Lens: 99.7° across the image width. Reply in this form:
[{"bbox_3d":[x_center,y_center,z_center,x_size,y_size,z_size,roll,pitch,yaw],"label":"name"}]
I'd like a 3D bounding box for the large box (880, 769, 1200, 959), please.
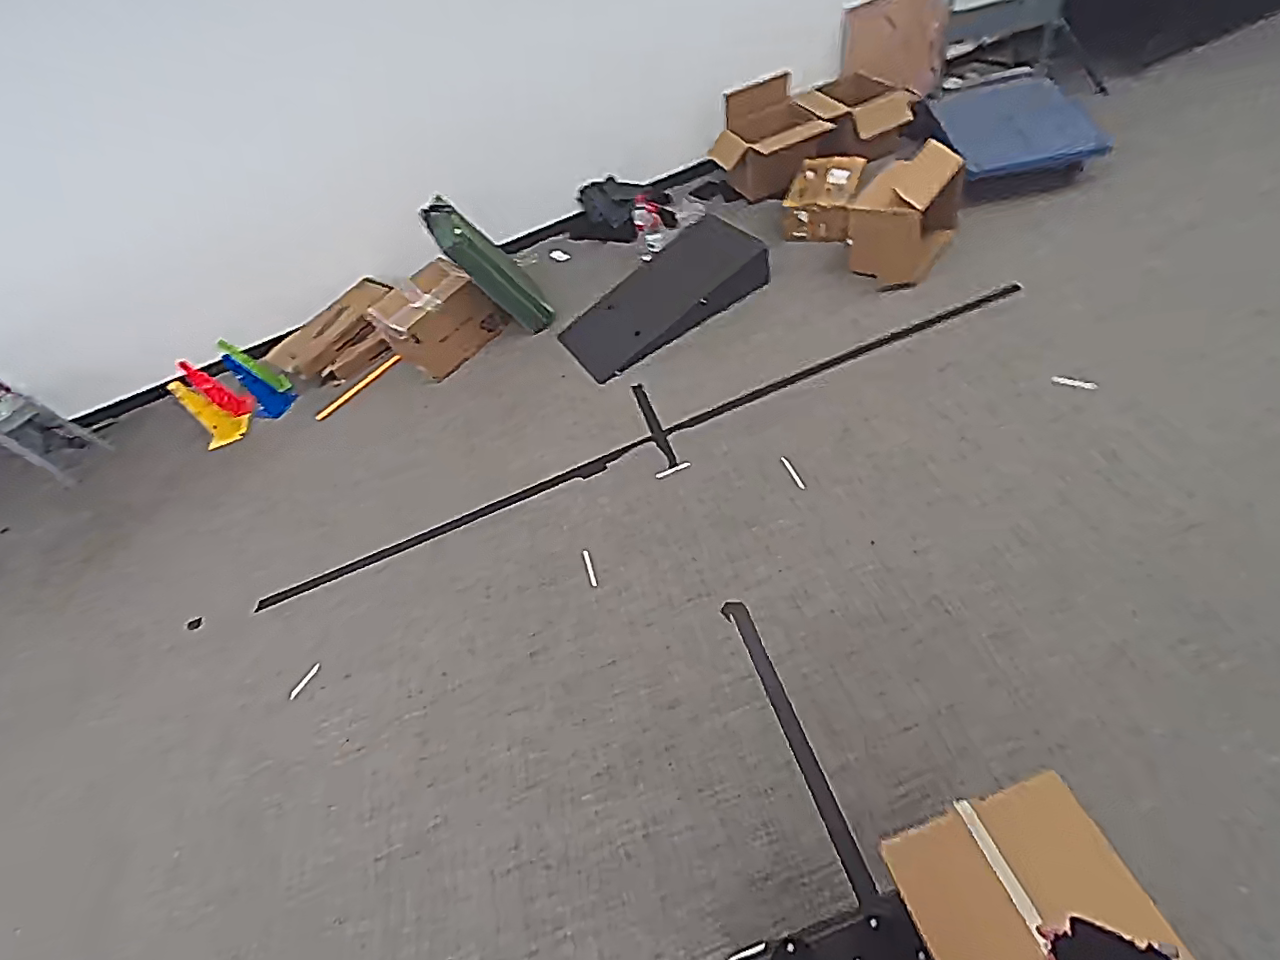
[{"bbox_3d":[0.650,0.756,0.888,0.320,0.320,0.408,-28,52,5],"label":"large box"}]
